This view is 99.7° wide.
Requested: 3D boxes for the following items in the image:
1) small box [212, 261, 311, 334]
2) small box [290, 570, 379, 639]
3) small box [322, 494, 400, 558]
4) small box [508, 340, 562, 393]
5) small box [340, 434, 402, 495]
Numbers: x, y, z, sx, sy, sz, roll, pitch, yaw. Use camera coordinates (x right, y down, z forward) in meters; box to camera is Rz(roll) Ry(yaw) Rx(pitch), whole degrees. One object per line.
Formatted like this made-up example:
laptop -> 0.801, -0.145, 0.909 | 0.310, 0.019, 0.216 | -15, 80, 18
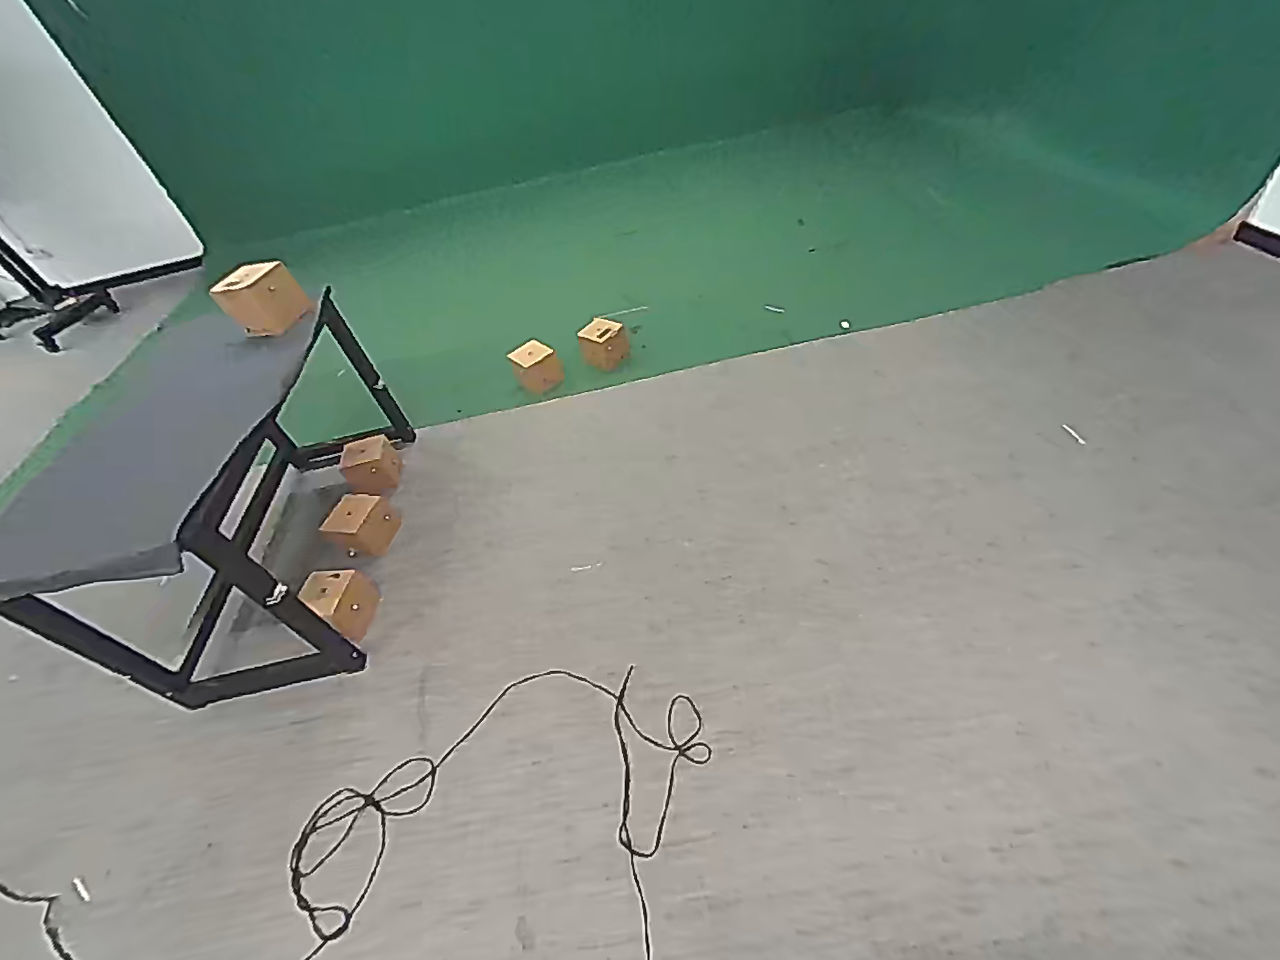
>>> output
small box -> -1.253, -0.603, 1.807 | 0.168, 0.176, 0.179 | 1, 49, 17
small box -> -1.011, 0.420, 1.810 | 0.168, 0.176, 0.179 | -4, 47, 9
small box -> -1.047, 0.173, 2.051 | 0.168, 0.176, 0.179 | 2, 49, 15
small box -> -0.504, -0.544, 2.606 | 0.168, 0.176, 0.179 | -39, 52, -23
small box -> -1.132, -0.065, 2.292 | 0.179, 0.176, 0.168 | -16, 45, -3
